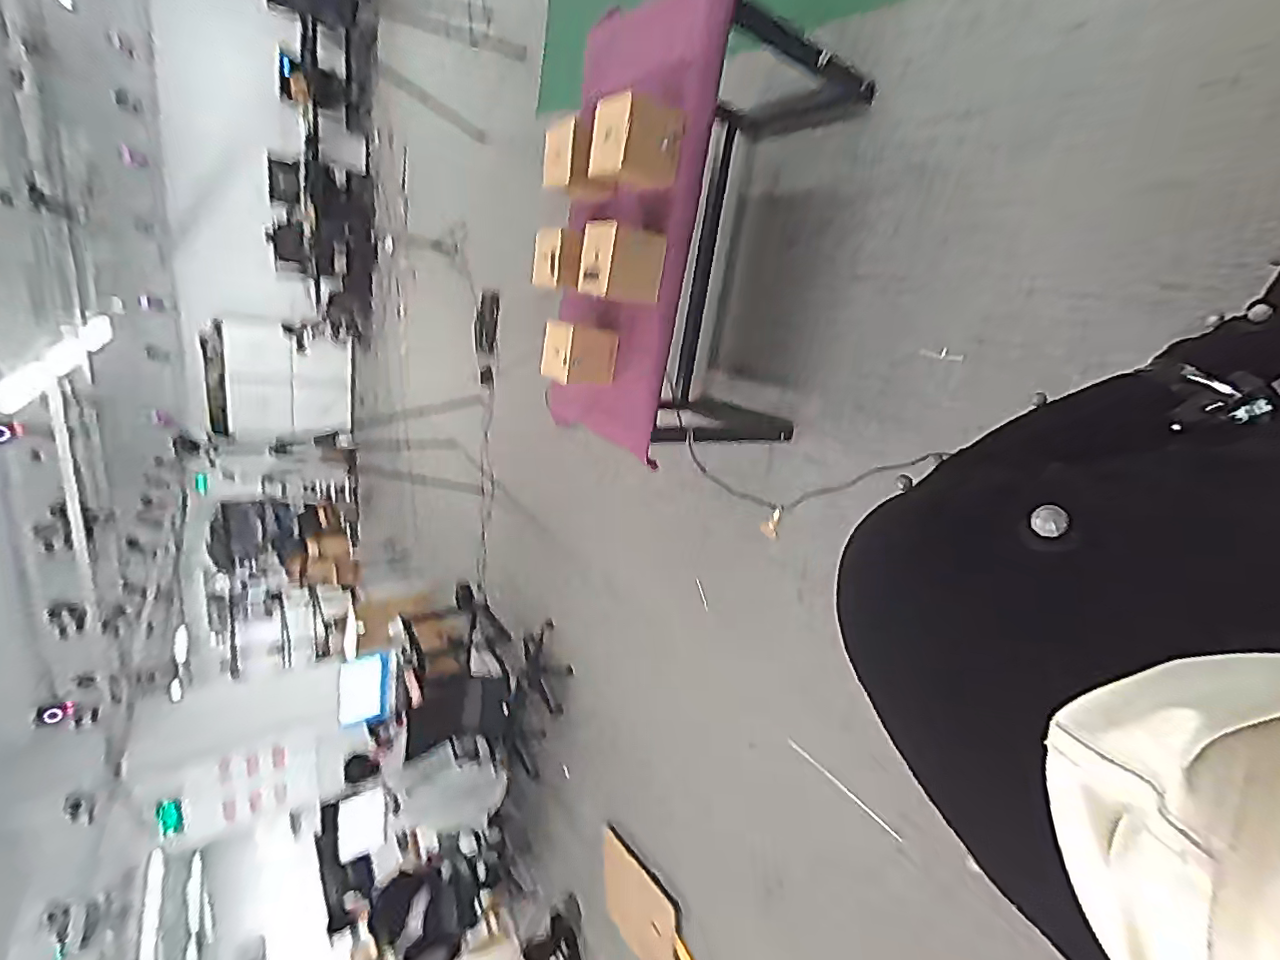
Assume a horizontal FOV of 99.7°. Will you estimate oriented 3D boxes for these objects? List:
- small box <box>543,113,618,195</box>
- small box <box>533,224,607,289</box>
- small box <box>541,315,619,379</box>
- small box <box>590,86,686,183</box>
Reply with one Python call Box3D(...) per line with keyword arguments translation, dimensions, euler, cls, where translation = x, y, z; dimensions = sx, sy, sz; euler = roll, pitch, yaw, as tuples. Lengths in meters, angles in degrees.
Box3D(translation=(-0.173, -0.975, 1.633), dimensions=(0.179, 0.176, 0.168), euler=(28, 116, 48), cls="small box")
Box3D(translation=(-0.221, -0.707, 1.718), dimensions=(0.179, 0.176, 0.168), euler=(29, 116, 49), cls="small box")
Box3D(translation=(-0.190, -0.414, 1.695), dimensions=(0.179, 0.176, 0.168), euler=(31, 119, 48), cls="small box")
Box3D(translation=(-0.007, -0.889, 1.410), dimensions=(0.179, 0.176, 0.168), euler=(33, 119, 49), cls="small box")
